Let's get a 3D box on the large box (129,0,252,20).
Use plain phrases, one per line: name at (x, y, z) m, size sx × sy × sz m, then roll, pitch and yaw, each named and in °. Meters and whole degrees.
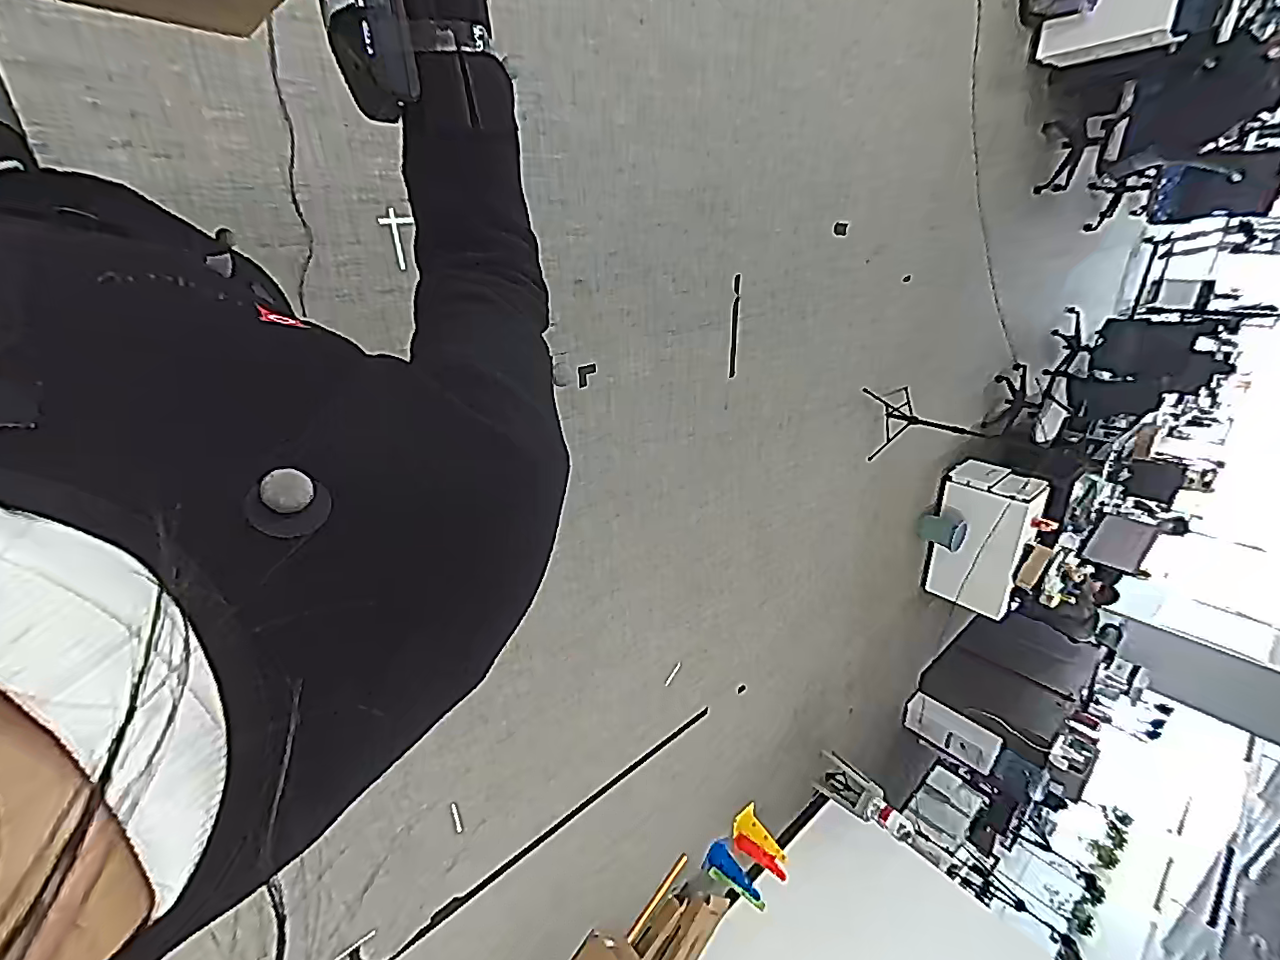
large box at (-0.399, -0.425, 0.191) m, size 0.408 × 0.320 × 0.320 m, roll -18°, pitch 126°, yaw -37°
